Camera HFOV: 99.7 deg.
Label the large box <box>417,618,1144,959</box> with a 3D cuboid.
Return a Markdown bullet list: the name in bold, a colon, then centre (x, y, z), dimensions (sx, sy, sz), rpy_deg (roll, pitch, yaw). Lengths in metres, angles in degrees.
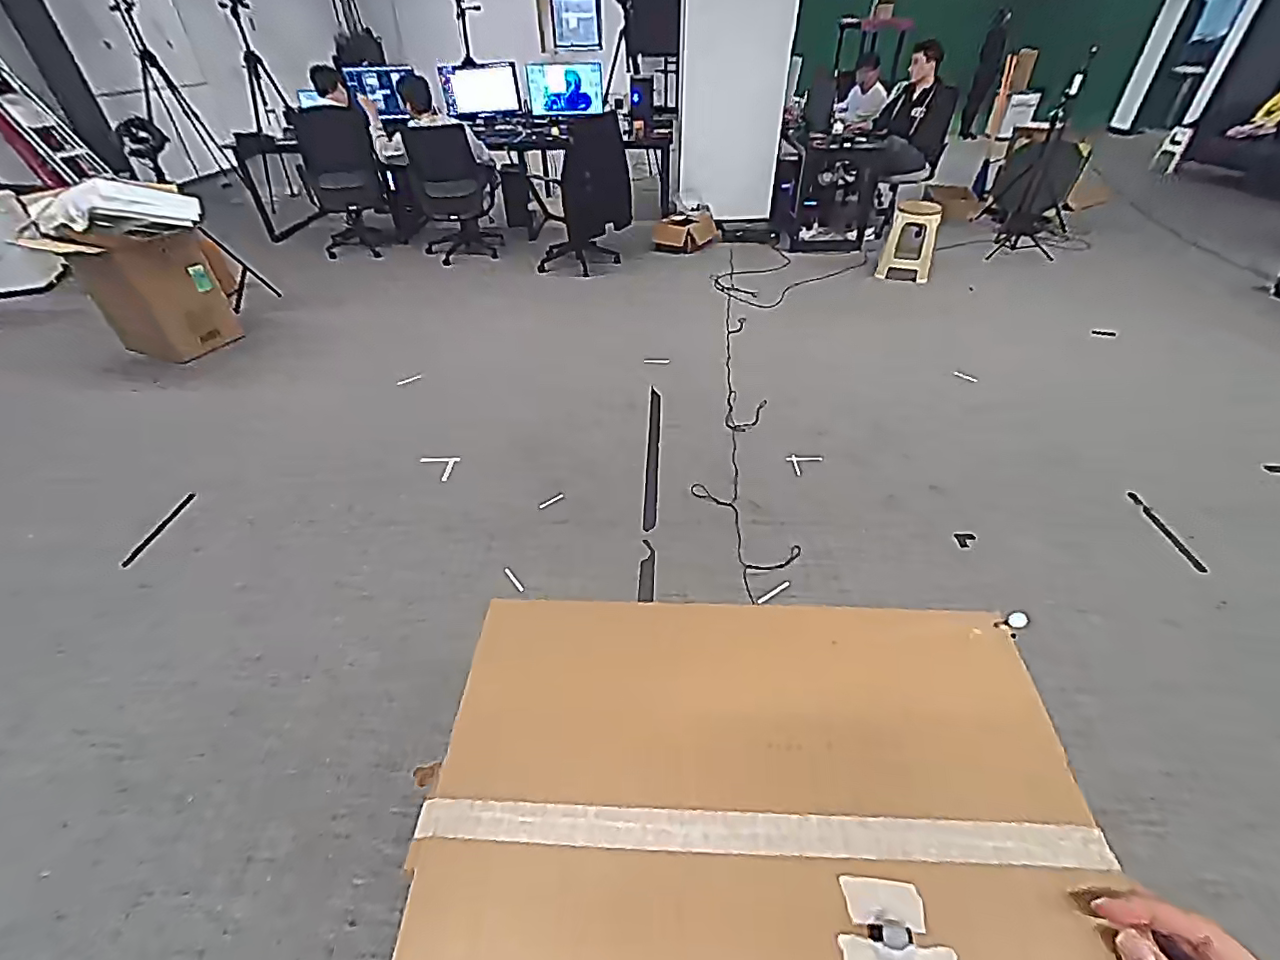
- **large box**: centre (0.078, 0.327, 0.439), dimensions (0.408, 0.320, 0.320), rpy_deg (1, 47, 3)
